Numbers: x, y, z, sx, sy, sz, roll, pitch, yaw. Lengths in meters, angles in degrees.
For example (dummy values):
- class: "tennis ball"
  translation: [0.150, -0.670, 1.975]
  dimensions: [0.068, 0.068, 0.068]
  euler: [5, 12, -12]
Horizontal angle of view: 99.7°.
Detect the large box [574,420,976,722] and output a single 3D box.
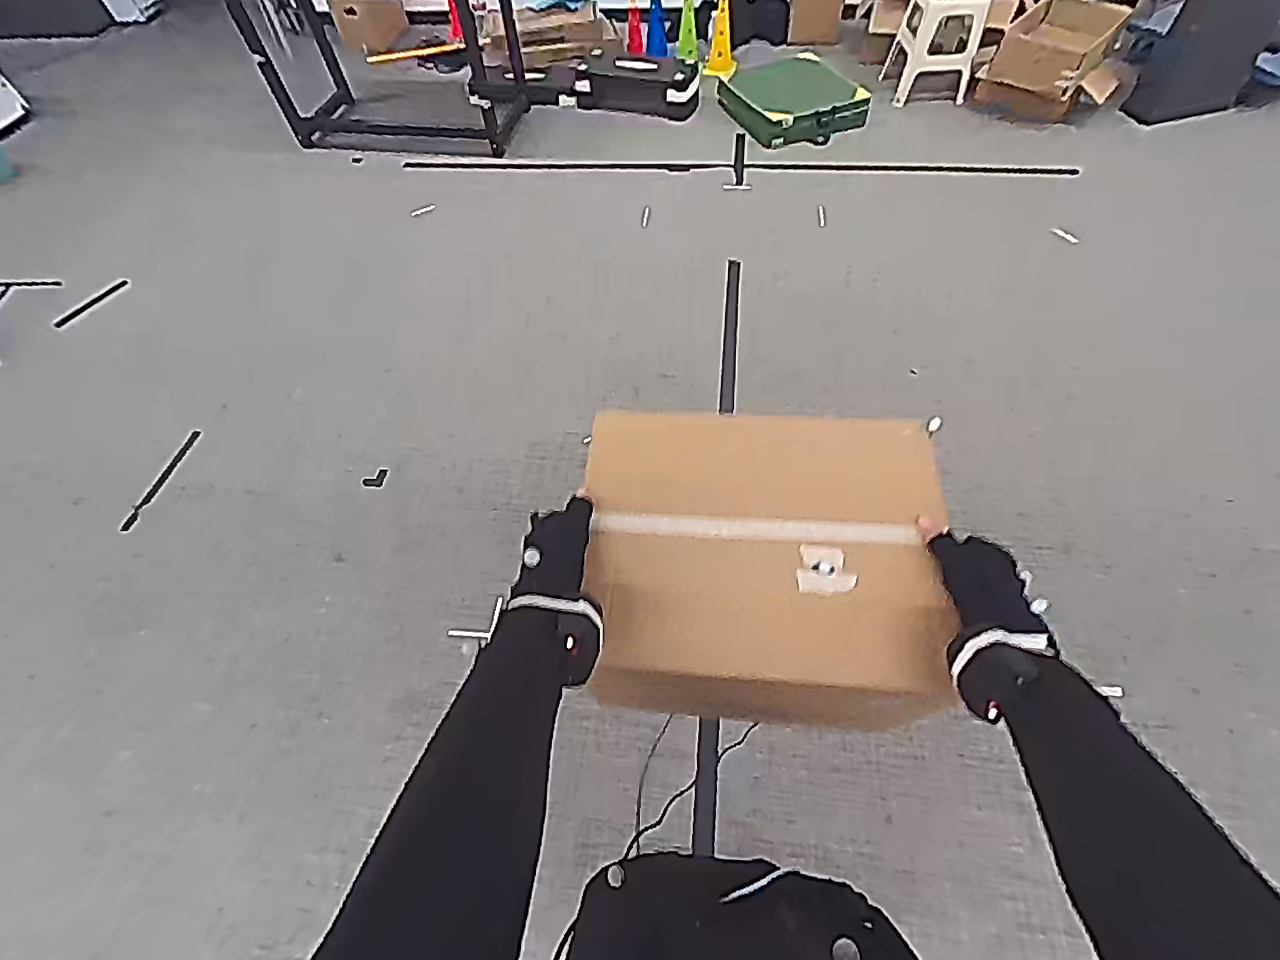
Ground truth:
- class: "large box"
  translation: [0.147, 0.135, 0.737]
  dimensions: [0.408, 0.320, 0.320]
  euler: [3, 61, 6]
